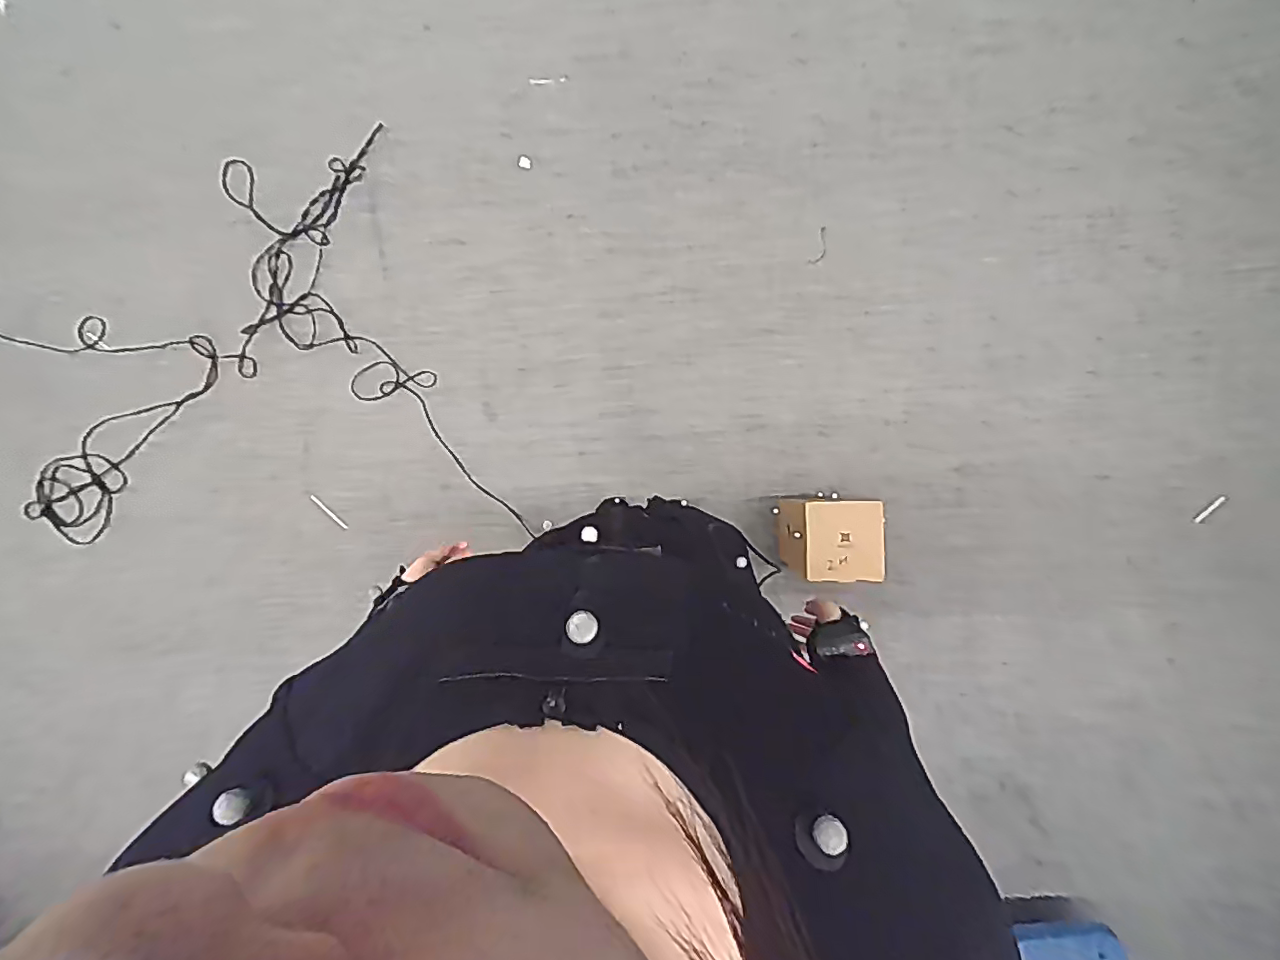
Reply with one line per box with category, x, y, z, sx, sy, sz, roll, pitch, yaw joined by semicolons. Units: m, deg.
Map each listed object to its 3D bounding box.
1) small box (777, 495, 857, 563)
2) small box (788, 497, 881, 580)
small box;0.455;0.126;1.407;0.179;0.176;0.168;-1;90;2
small box;0.440;0.128;1.242;0.168;0.176;0.179;-1;90;4
